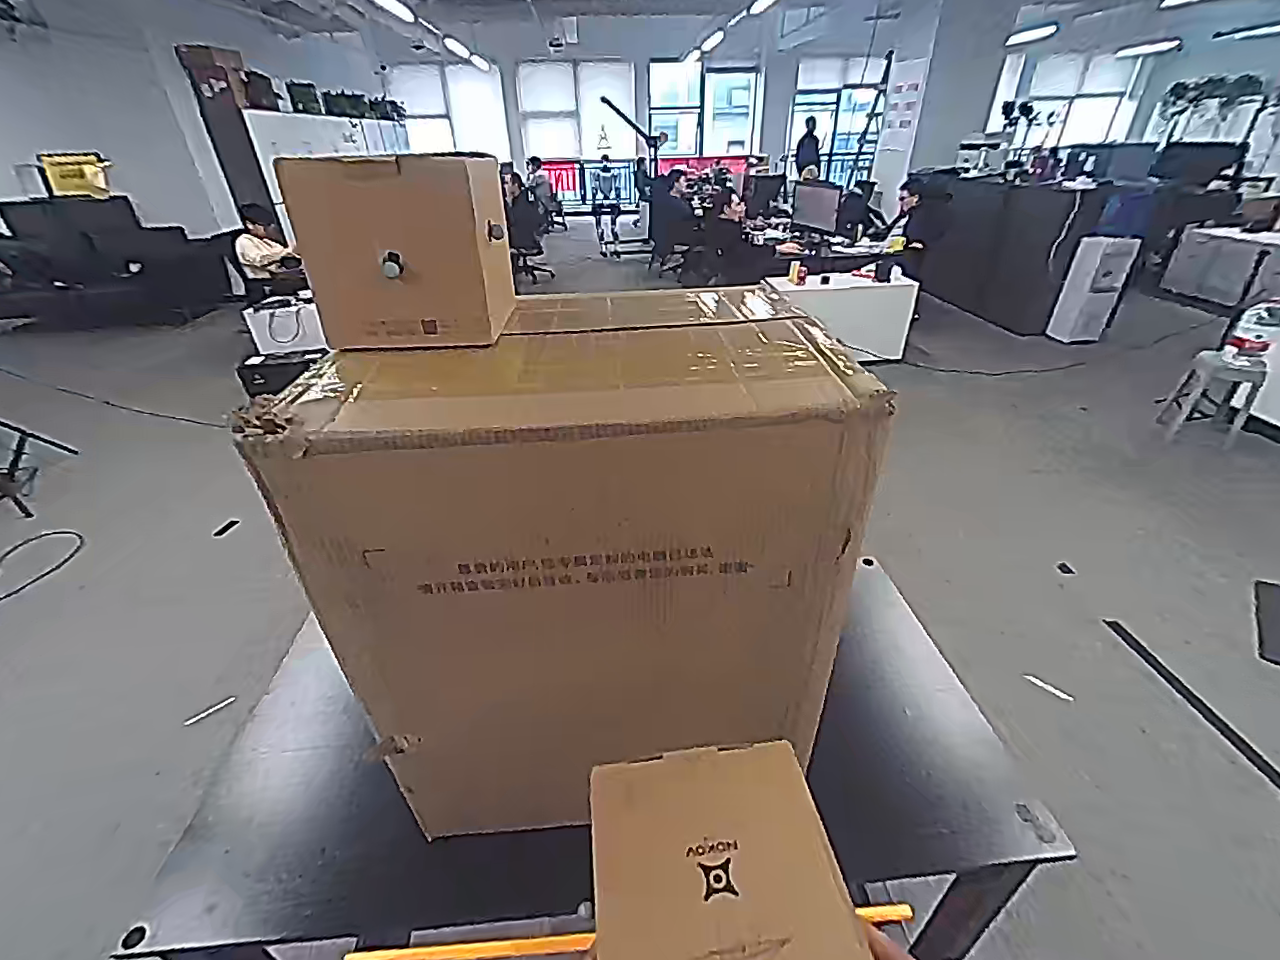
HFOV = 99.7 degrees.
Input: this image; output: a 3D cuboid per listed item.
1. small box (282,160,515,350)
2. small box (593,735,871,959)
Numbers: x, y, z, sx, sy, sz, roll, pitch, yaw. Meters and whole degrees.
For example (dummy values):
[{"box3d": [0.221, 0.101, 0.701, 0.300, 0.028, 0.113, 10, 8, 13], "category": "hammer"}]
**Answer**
[{"box3d": [-0.234, -0.243, 0.583, 0.168, 0.176, 0.179, -3, 31, -3], "category": "small box"}, {"box3d": [0.052, 0.331, 0.412, 0.168, 0.176, 0.179, -5, 31, -5], "category": "small box"}]
